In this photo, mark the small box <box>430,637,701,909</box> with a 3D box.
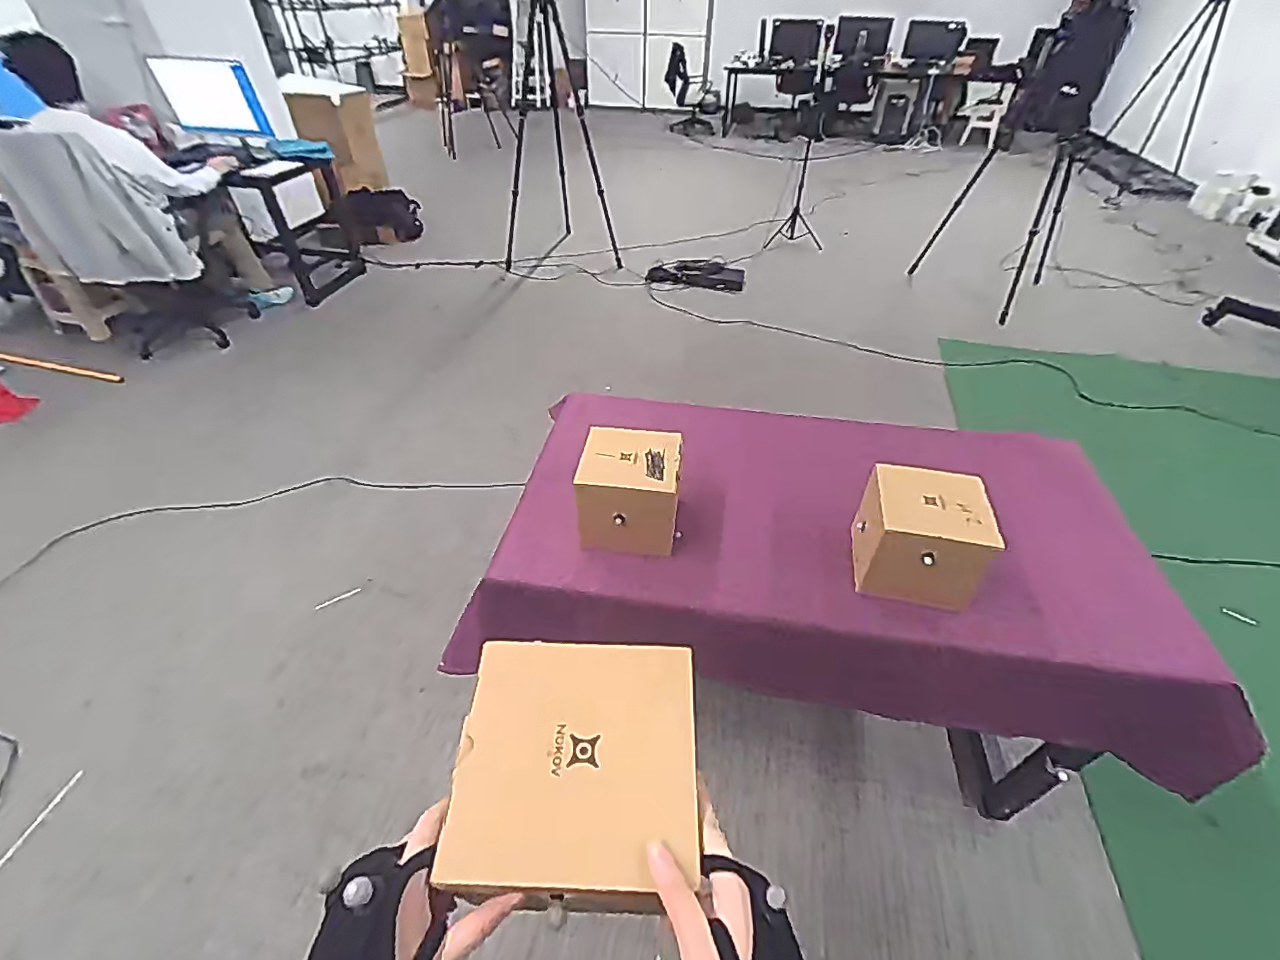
[{"bbox_3d":[-0.046,0.248,0.455,0.179,0.176,0.168,1,47,1],"label":"small box"}]

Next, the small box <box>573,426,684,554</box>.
[{"bbox_3d":[-0.015,0.021,1.008,0.179,0.176,0.168,4,42,6],"label":"small box"}]

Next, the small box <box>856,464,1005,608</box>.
[{"bbox_3d":[0.479,0.097,0.927,0.179,0.176,0.168,10,44,10],"label":"small box"}]
